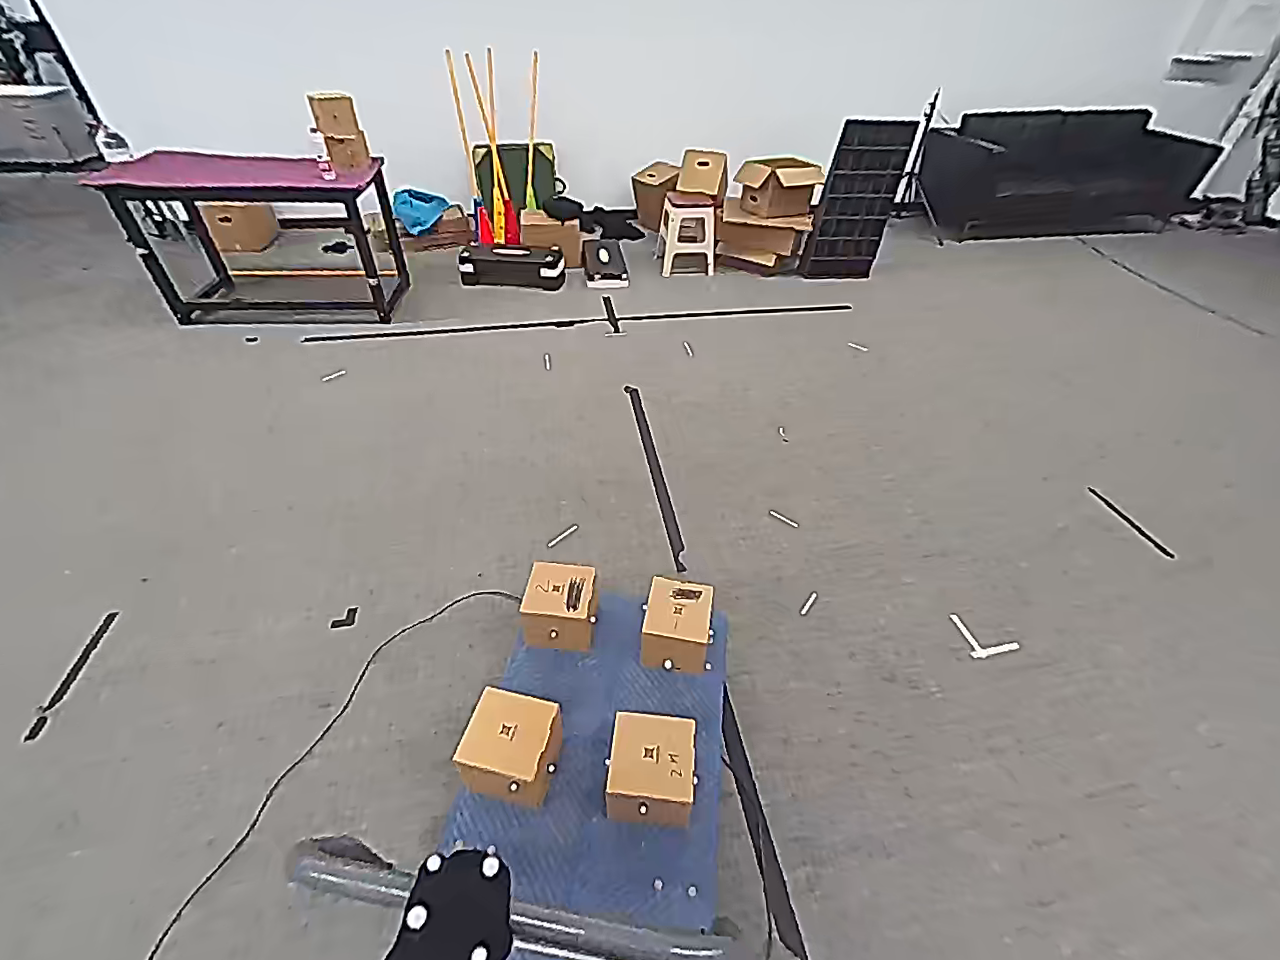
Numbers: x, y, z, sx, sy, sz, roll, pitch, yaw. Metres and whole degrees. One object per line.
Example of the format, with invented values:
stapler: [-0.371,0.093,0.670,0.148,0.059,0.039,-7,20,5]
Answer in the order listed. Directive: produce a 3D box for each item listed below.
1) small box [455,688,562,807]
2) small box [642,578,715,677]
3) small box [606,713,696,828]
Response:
small box: [-0.281,0.594,1.197,0.179,0.176,0.168,11,42,7]
small box: [0.100,0.392,1.440,0.168,0.176,0.179,9,43,7]
small box: [0.026,0.631,1.171,0.179,0.176,0.168,5,42,3]
